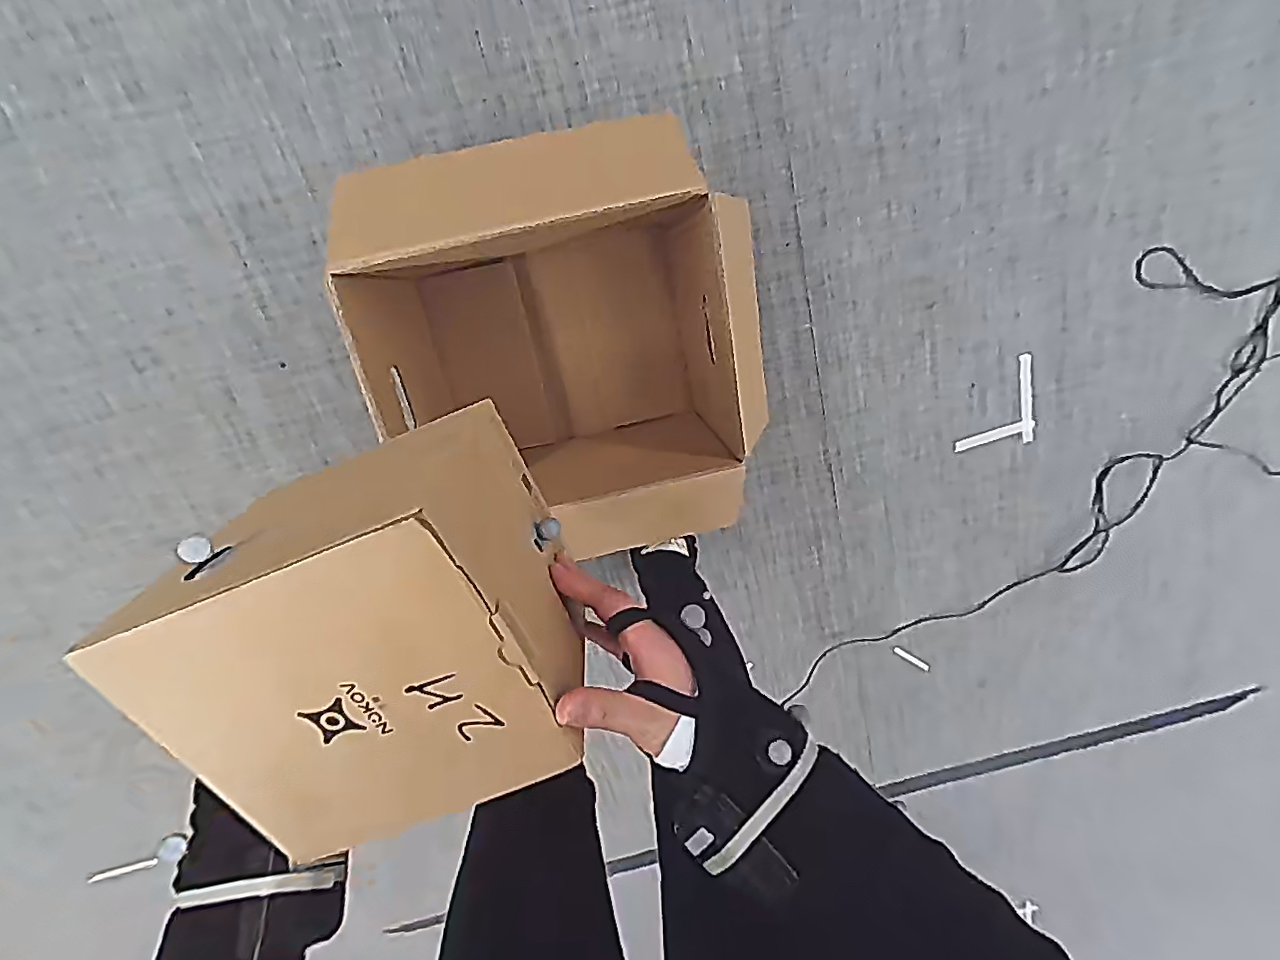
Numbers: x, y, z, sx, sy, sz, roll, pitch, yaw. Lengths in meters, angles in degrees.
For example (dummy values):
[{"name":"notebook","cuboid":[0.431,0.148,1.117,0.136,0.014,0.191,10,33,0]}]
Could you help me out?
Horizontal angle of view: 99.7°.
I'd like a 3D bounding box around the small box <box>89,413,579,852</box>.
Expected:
[{"name":"small box","cuboid":[-0.146,0.079,0.339,0.179,0.176,0.168,-21,115,4]}]
